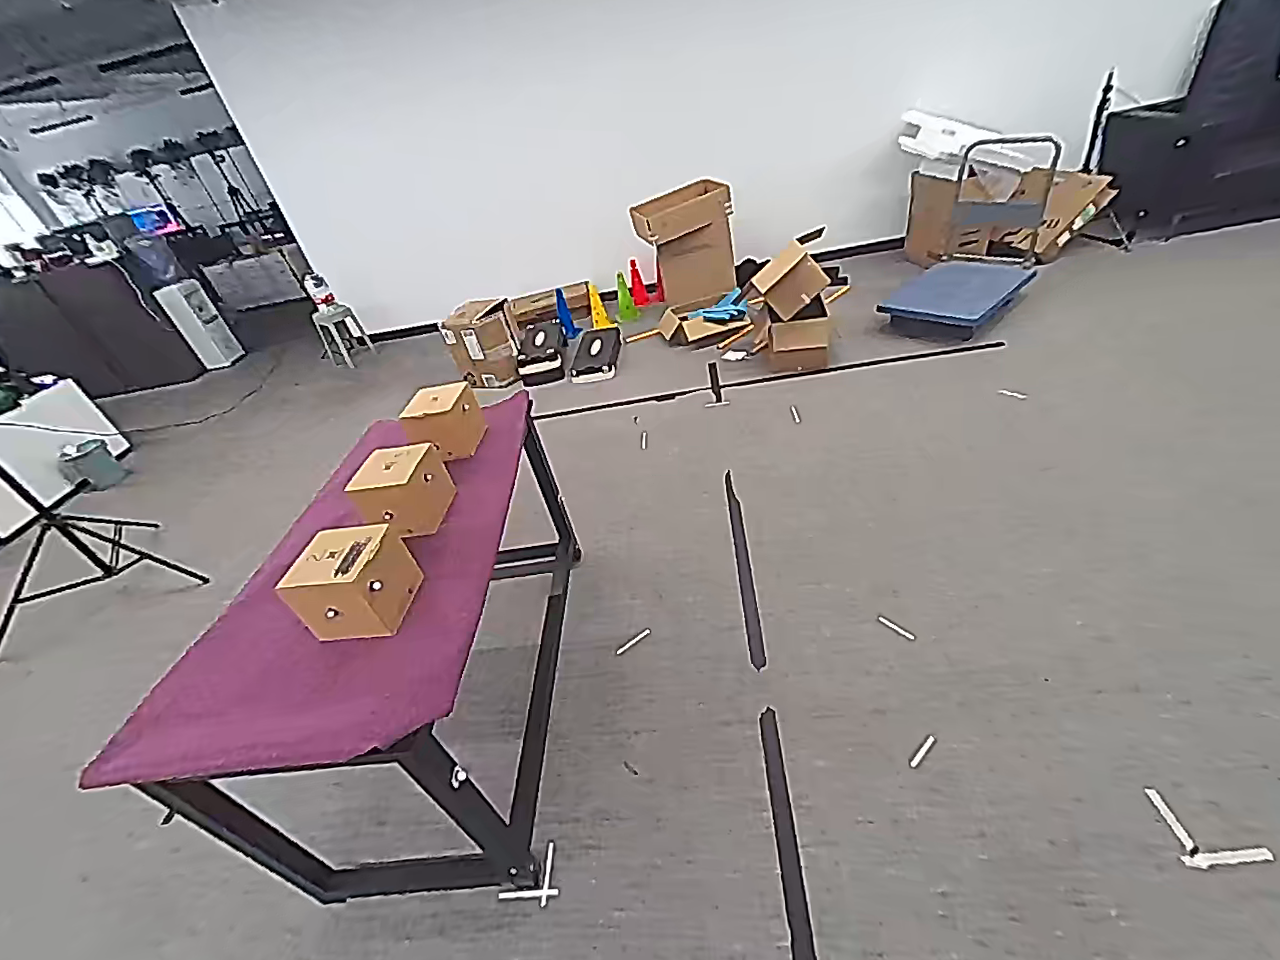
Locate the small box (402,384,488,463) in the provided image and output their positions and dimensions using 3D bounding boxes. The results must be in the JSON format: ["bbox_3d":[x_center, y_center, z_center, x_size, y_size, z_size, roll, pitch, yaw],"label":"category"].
[{"bbox_3d":[-0.585,-0.171,1.653,0.168,0.176,0.179,-7,37,10],"label":"small box"}]

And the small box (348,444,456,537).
[{"bbox_3d":[-0.596,0.032,1.386,0.168,0.176,0.179,-6,36,9],"label":"small box"}]
